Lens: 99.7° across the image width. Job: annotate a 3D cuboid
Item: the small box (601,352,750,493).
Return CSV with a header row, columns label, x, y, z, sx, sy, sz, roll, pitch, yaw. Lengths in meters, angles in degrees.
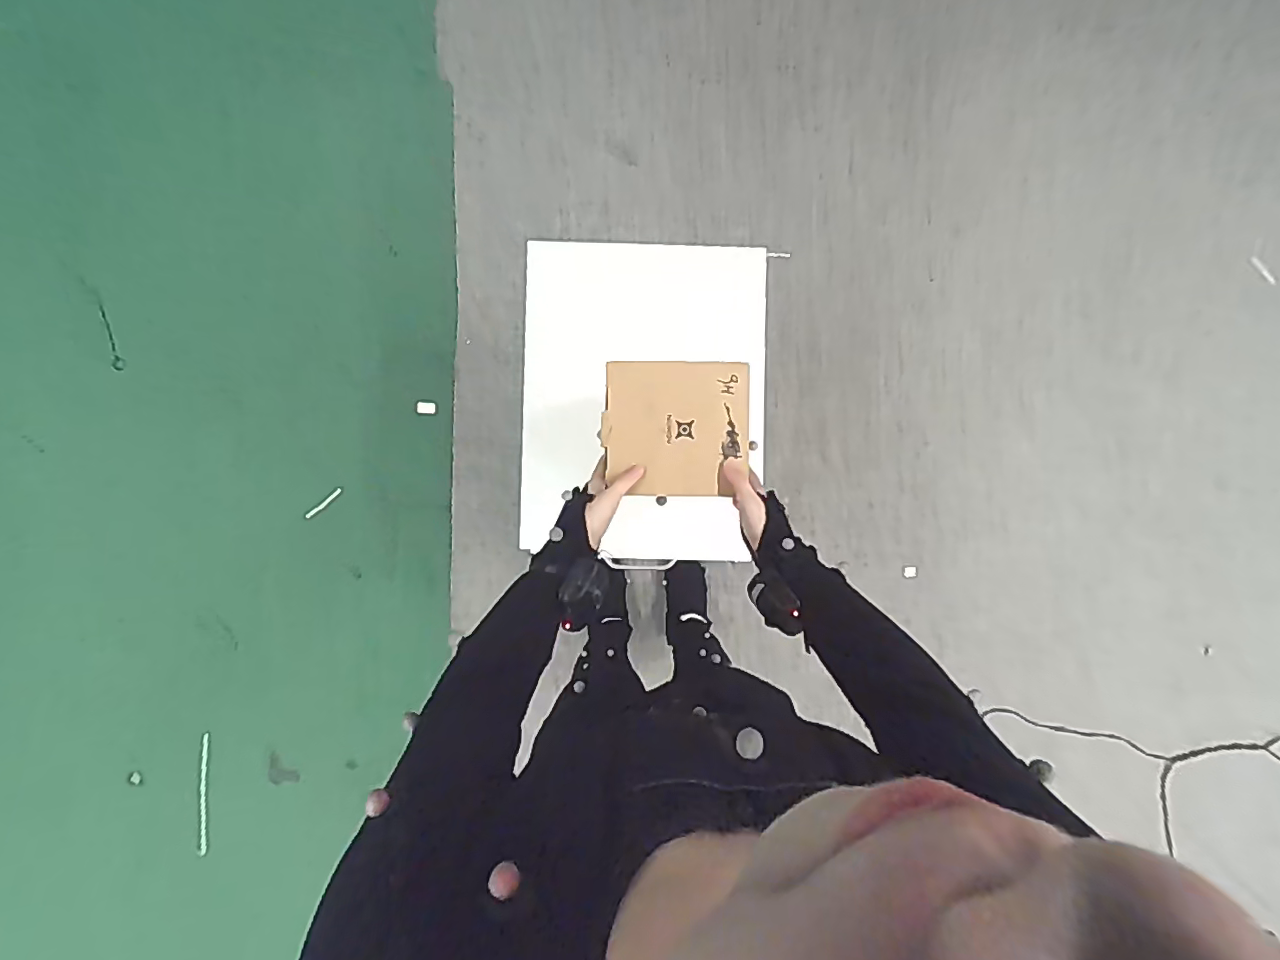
label,x,y,z,sx,sy,sz,roll,pitch,yaw
small box,0.044,-0.068,0.722,0.179,0.176,0.168,1,90,0
